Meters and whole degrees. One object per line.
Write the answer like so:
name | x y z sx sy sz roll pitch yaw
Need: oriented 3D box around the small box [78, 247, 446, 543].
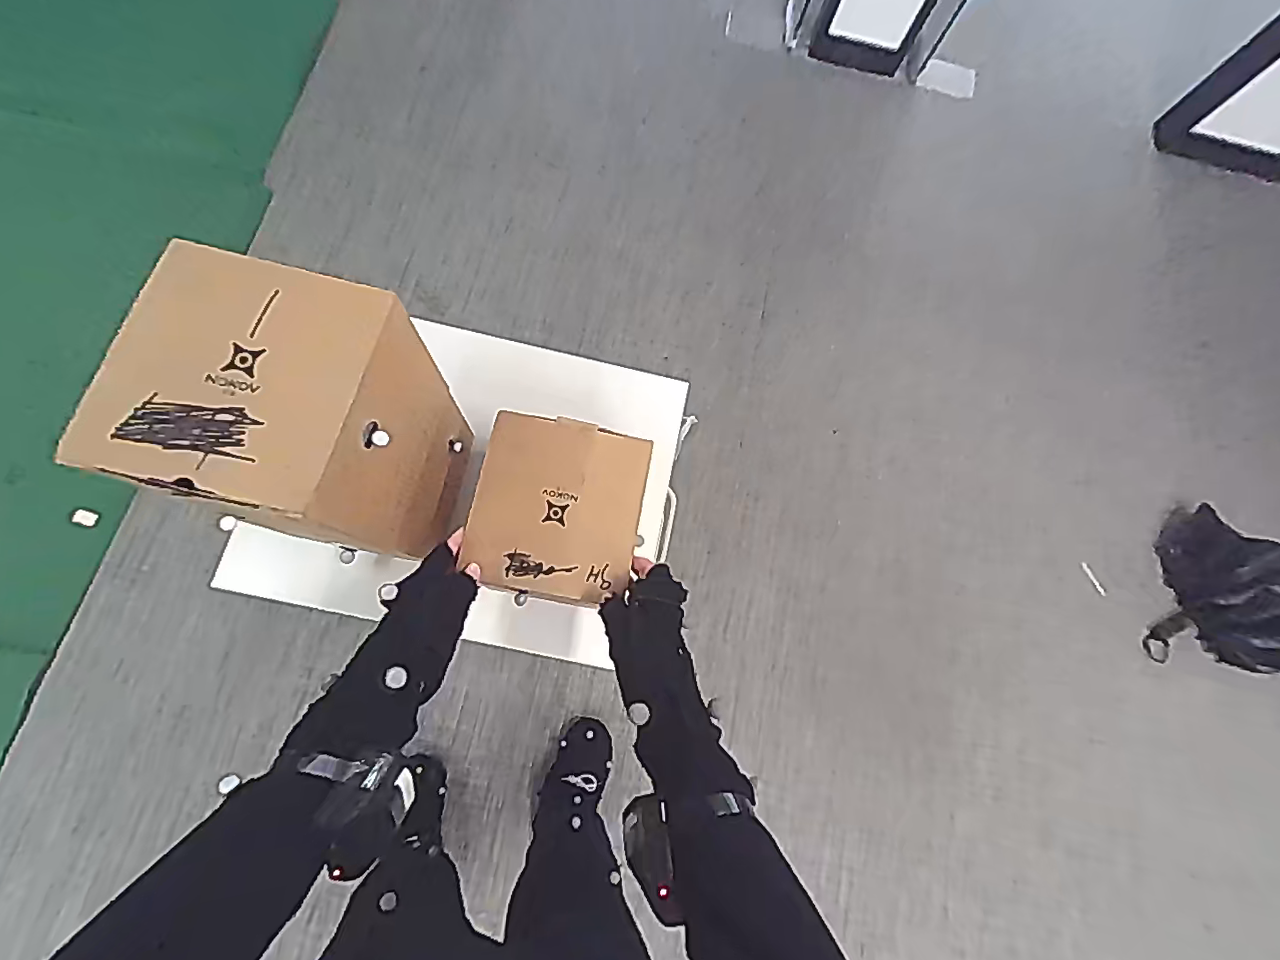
small box | -0.284 -0.055 0.461 0.168 0.176 0.179 14 73 -2

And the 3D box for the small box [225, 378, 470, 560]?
small box | -0.300 -0.016 0.603 0.168 0.176 0.179 10 76 -3
